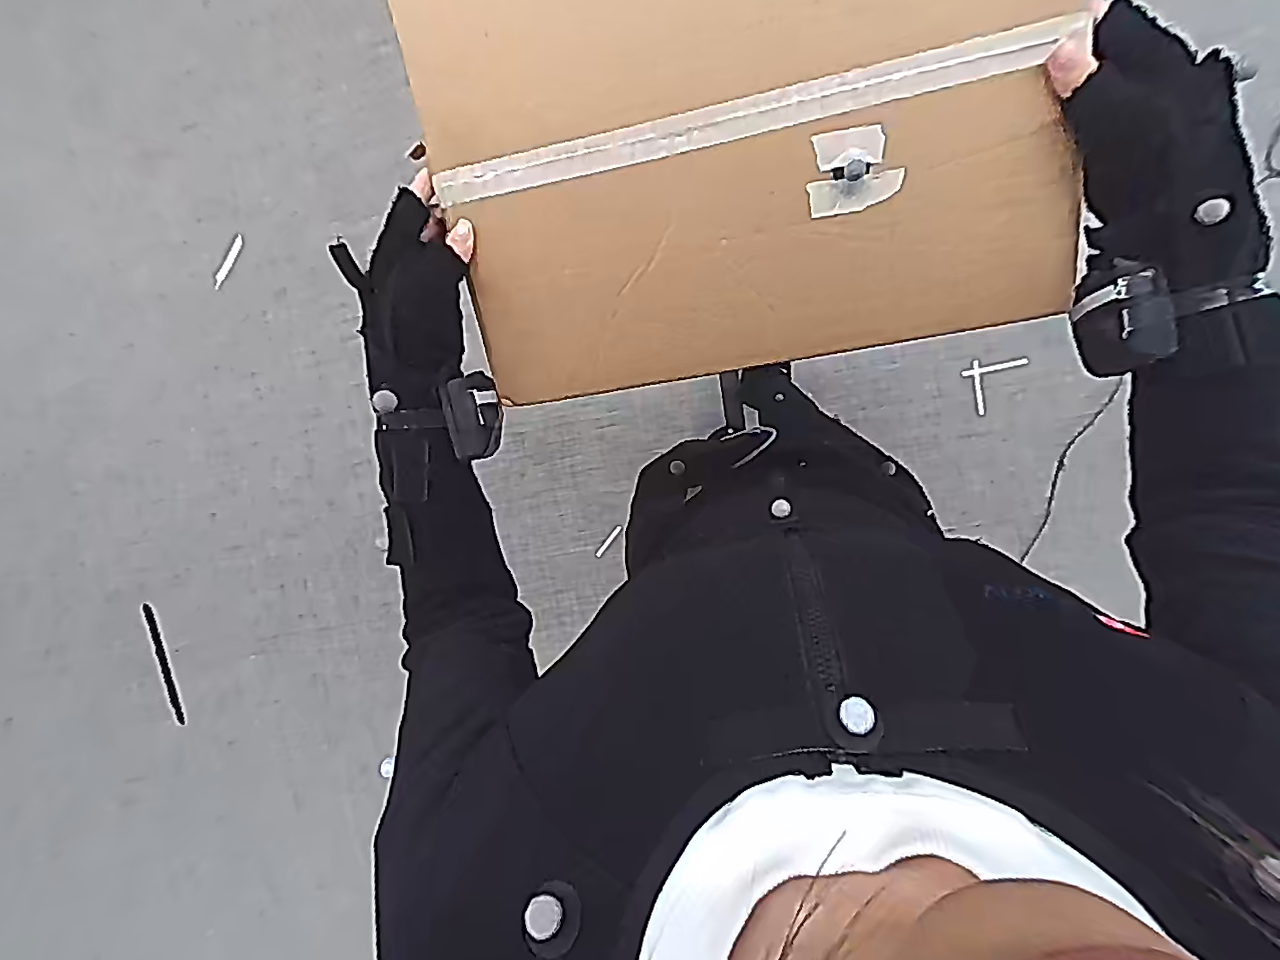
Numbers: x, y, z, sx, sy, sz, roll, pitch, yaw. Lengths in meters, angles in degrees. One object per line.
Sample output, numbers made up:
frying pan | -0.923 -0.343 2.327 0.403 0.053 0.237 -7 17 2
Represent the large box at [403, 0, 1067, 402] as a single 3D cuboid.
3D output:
large box | 0.074 -0.284 0.496 0.408 0.320 0.320 -9 109 8
